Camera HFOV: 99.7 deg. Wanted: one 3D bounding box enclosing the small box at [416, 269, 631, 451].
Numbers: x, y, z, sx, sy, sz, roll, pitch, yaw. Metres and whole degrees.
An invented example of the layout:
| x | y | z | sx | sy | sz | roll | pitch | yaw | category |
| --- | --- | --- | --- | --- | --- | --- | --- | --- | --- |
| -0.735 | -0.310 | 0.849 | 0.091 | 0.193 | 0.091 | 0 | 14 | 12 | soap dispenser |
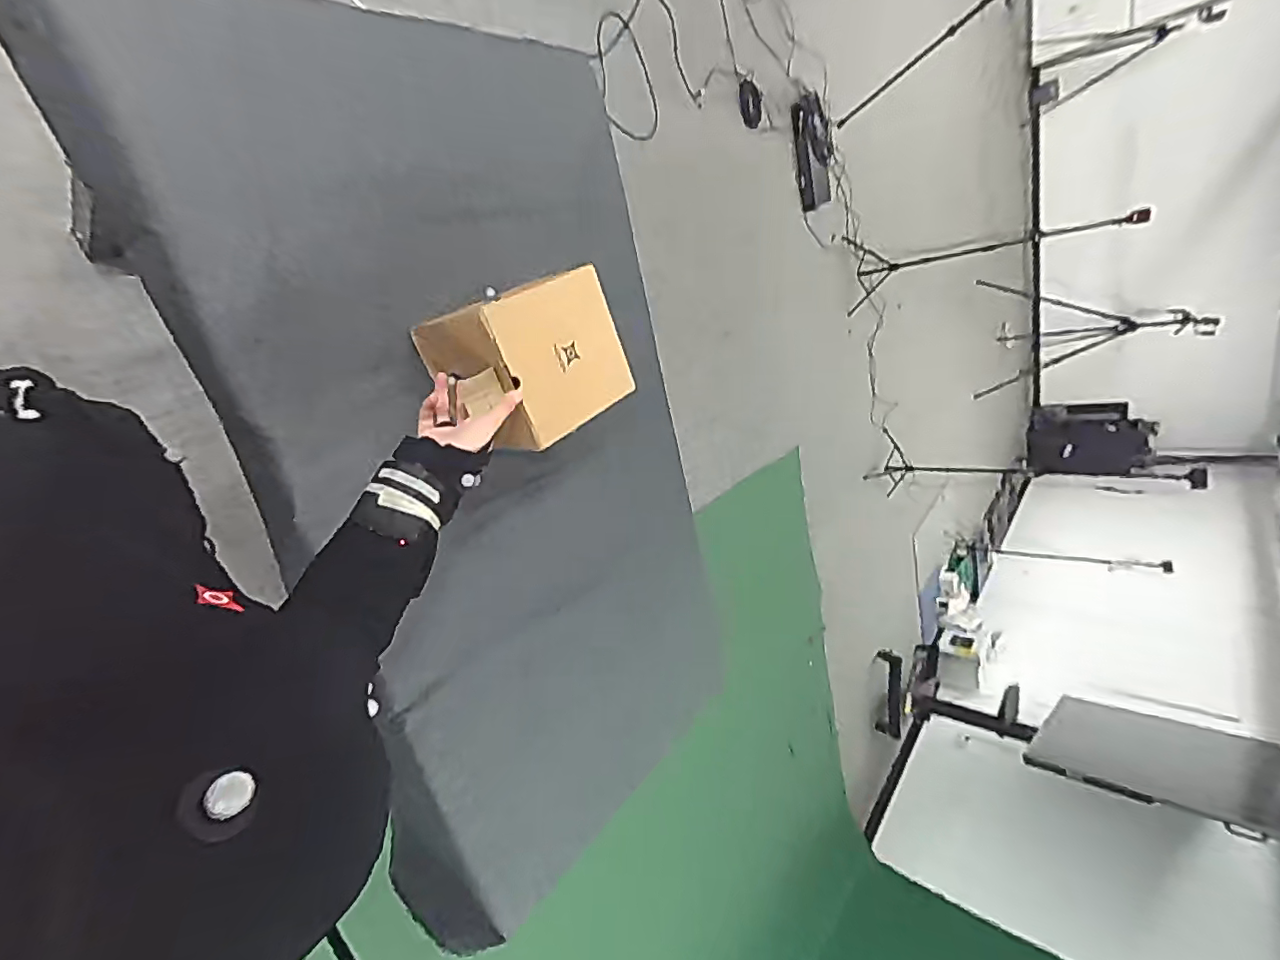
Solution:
| x | y | z | sx | sy | sz | roll | pitch | yaw | category |
| --- | --- | --- | --- | --- | --- | --- | --- | --- | --- |
| -0.147 | -0.152 | 0.694 | 0.179 | 0.176 | 0.168 | -41 | 122 | -37 | small box |
